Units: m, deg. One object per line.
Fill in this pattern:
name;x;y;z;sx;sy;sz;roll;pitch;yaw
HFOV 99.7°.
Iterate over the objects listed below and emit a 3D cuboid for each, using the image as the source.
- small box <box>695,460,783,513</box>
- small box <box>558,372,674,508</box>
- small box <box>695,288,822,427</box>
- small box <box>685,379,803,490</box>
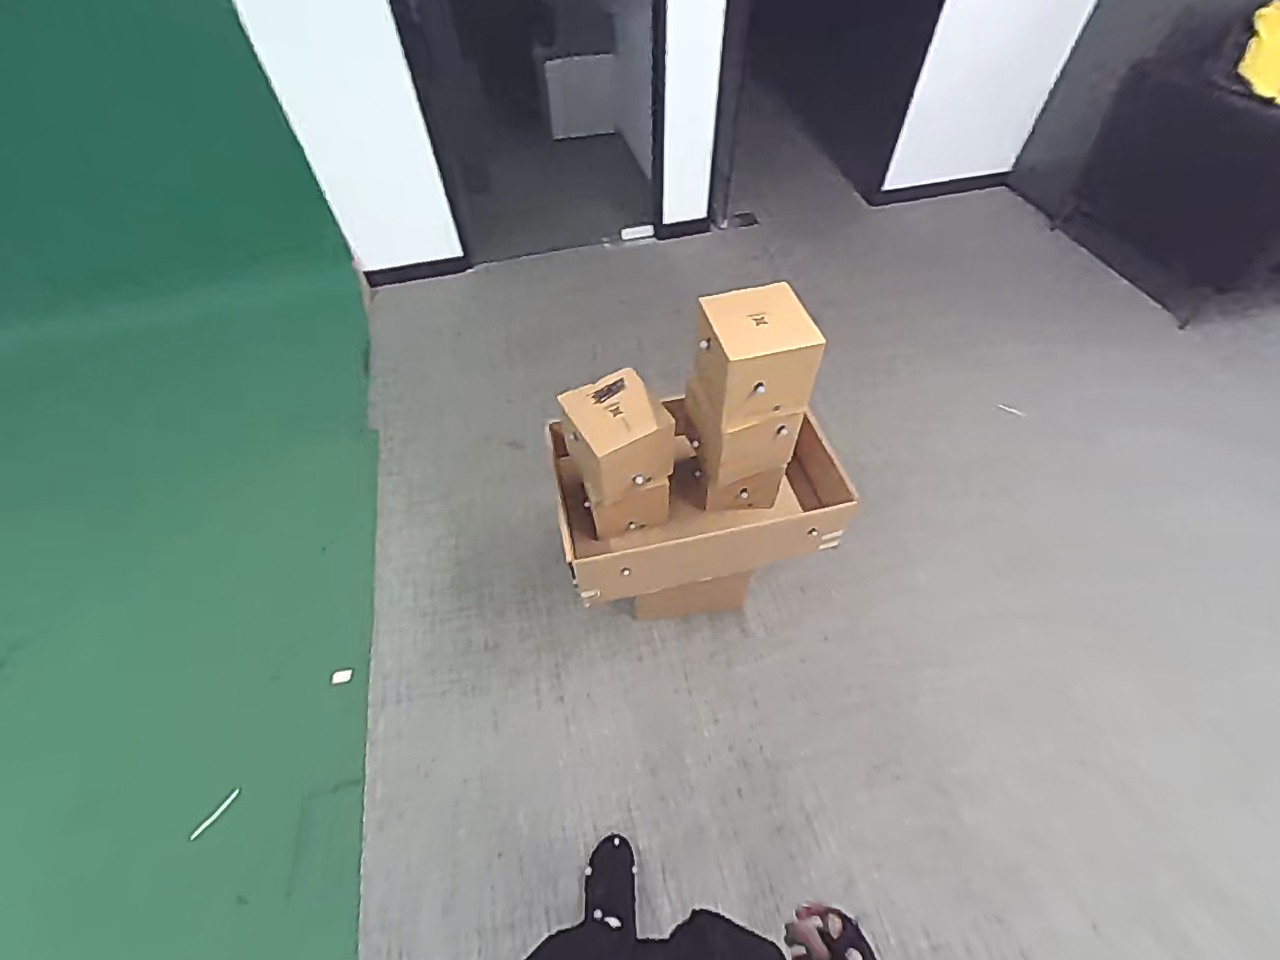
small box;0.220;-0.034;1.248;0.168;0.176;0.179;-3;54;-1
small box;-0.048;-0.078;1.080;0.168;0.176;0.179;-26;58;-16
small box;0.202;-0.212;0.975;0.168;0.176;0.179;-12;53;-6
small box;0.201;-0.108;1.100;0.179;0.176;0.168;-19;54;-11
